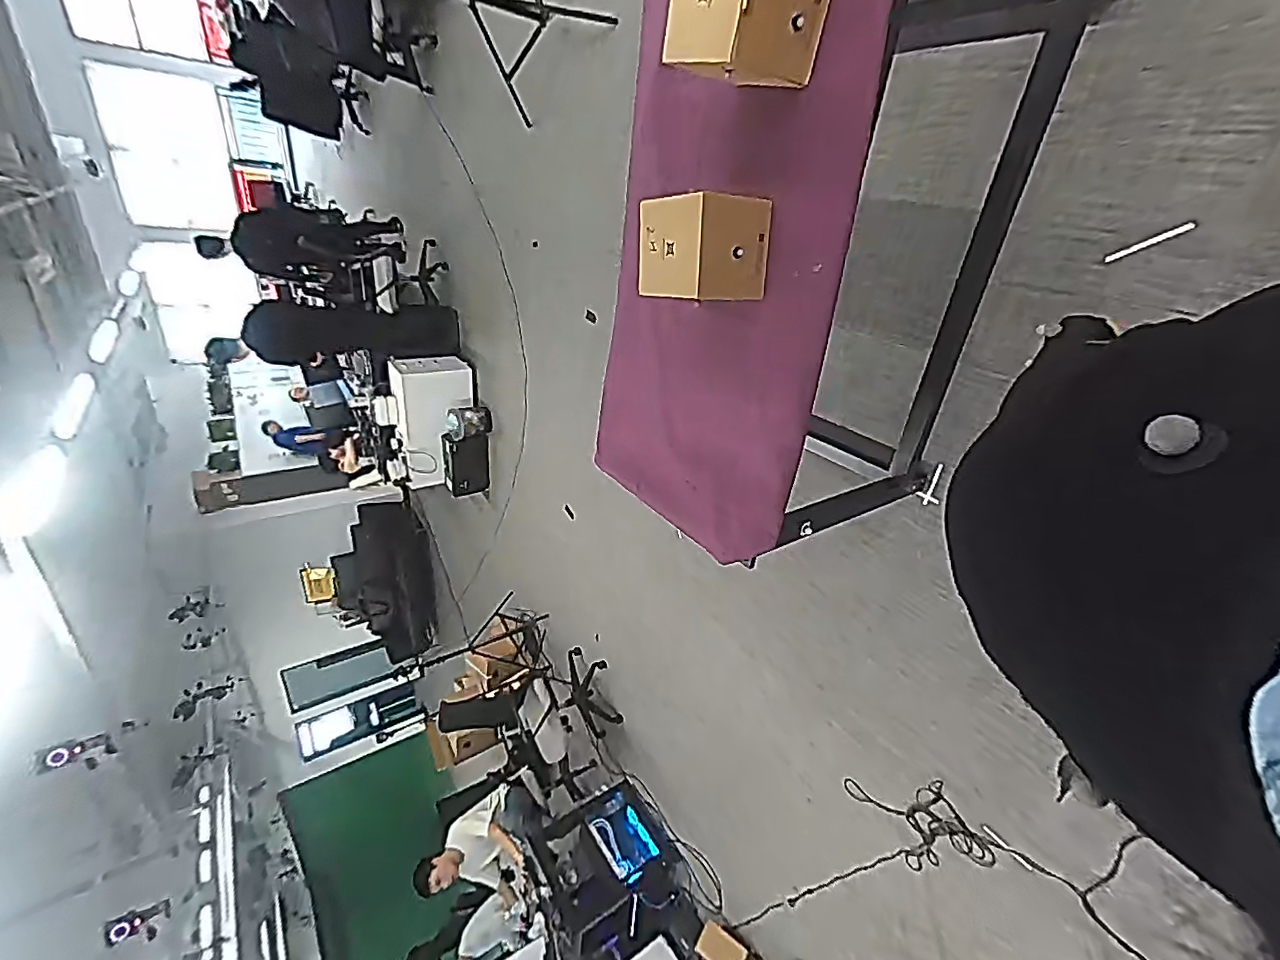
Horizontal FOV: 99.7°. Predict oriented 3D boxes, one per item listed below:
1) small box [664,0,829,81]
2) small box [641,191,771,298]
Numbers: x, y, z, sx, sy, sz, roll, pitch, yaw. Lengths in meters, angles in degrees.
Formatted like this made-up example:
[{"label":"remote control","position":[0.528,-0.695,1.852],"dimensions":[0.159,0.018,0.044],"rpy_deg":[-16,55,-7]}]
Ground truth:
[{"label":"small box","position":[0.164,-0.723,0.822],"dimensions":[0.179,0.176,0.168],"rpy_deg":[43,135,42]},{"label":"small box","position":[0.119,-0.428,0.995],"dimensions":[0.179,0.176,0.168],"rpy_deg":[28,123,50]}]
